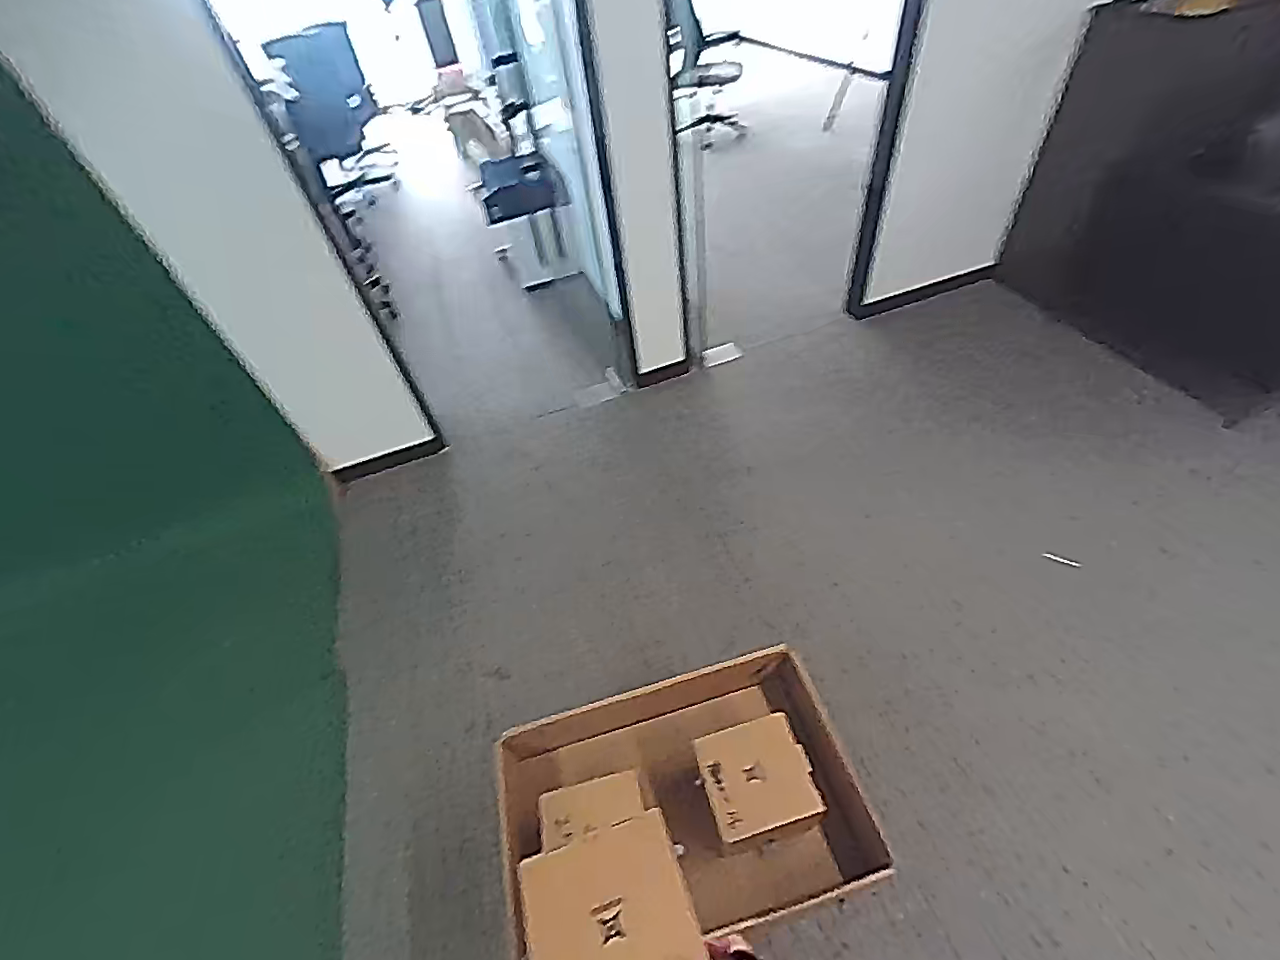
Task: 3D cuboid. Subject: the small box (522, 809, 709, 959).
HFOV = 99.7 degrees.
[{"bbox_3d":[-0.021,0.510,0.587,0.168,0.176,0.179,-14,33,-12],"label":"small box"}]
